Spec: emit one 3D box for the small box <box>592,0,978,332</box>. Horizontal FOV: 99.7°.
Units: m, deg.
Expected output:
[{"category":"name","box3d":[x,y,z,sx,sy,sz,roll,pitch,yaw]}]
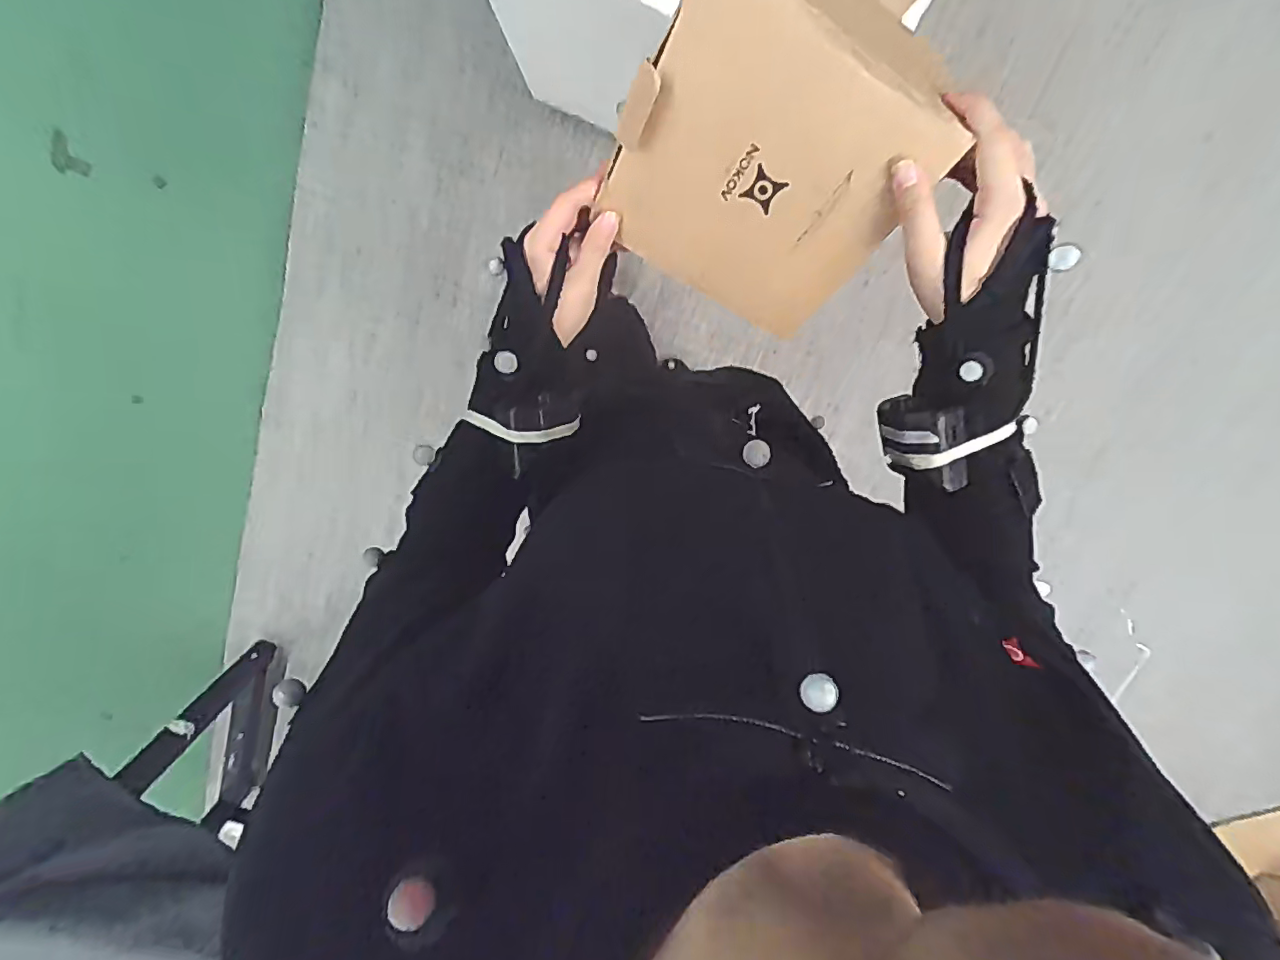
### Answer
[{"category":"small box","box3d":[0.091,-0.248,0.383,0.179,0.176,0.168,24,142,-13]}]
